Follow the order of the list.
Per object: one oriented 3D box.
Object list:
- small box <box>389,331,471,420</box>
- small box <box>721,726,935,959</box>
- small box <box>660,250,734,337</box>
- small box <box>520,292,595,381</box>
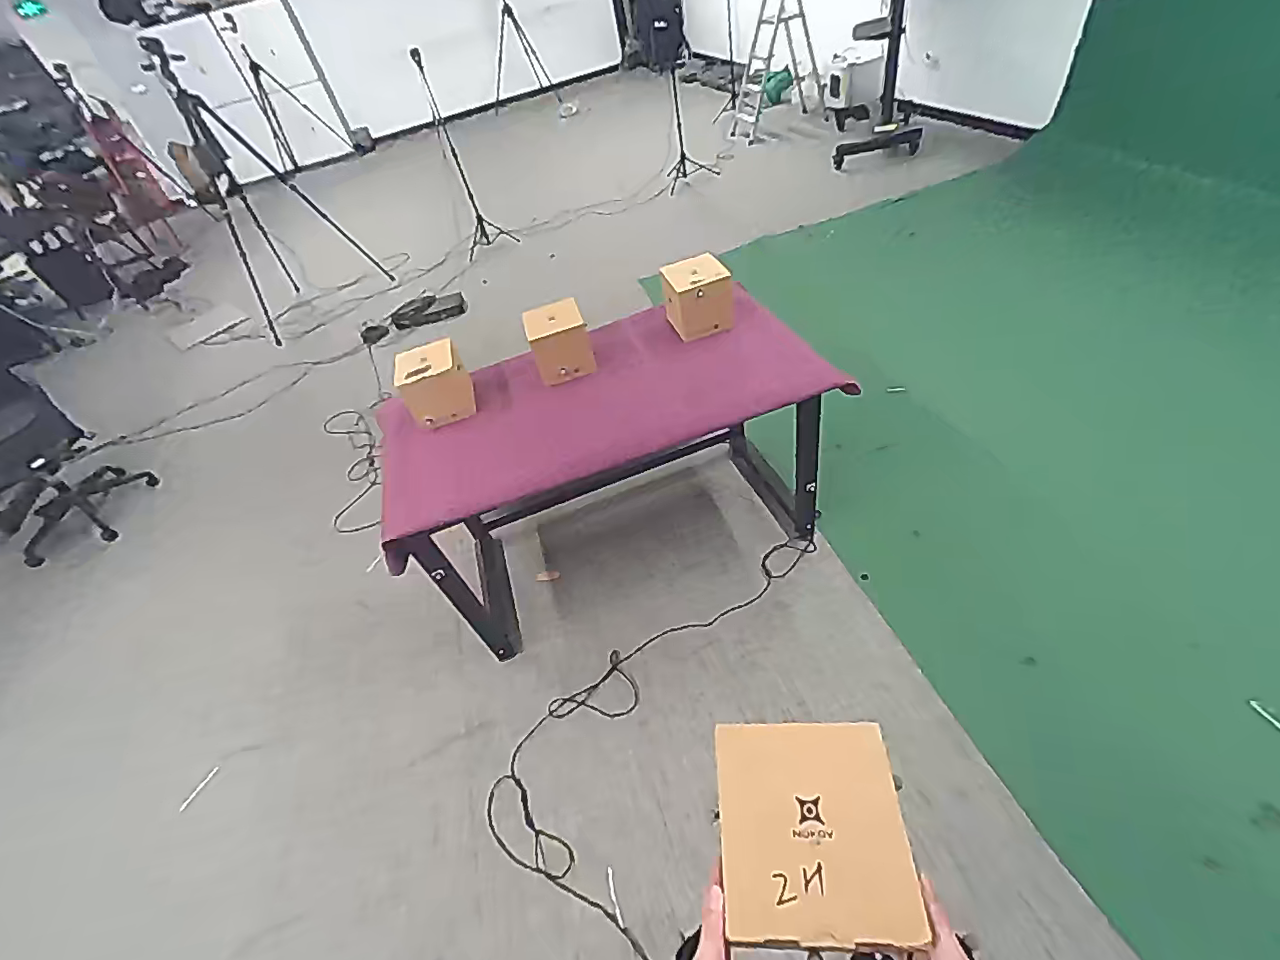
[{"bbox_3d":[-0.596,-0.291,1.548,0.168,0.176,0.179,-18,47,-5],"label":"small box"},{"bbox_3d":[0.169,0.371,0.555,0.168,0.176,0.179,-3,49,7],"label":"small box"},{"bbox_3d":[0.171,-0.556,1.618,0.168,0.176,0.179,-20,46,-4],"label":"small box"},{"bbox_3d":[-0.243,-0.420,1.591,0.168,0.176,0.179,-18,47,-3],"label":"small box"}]
